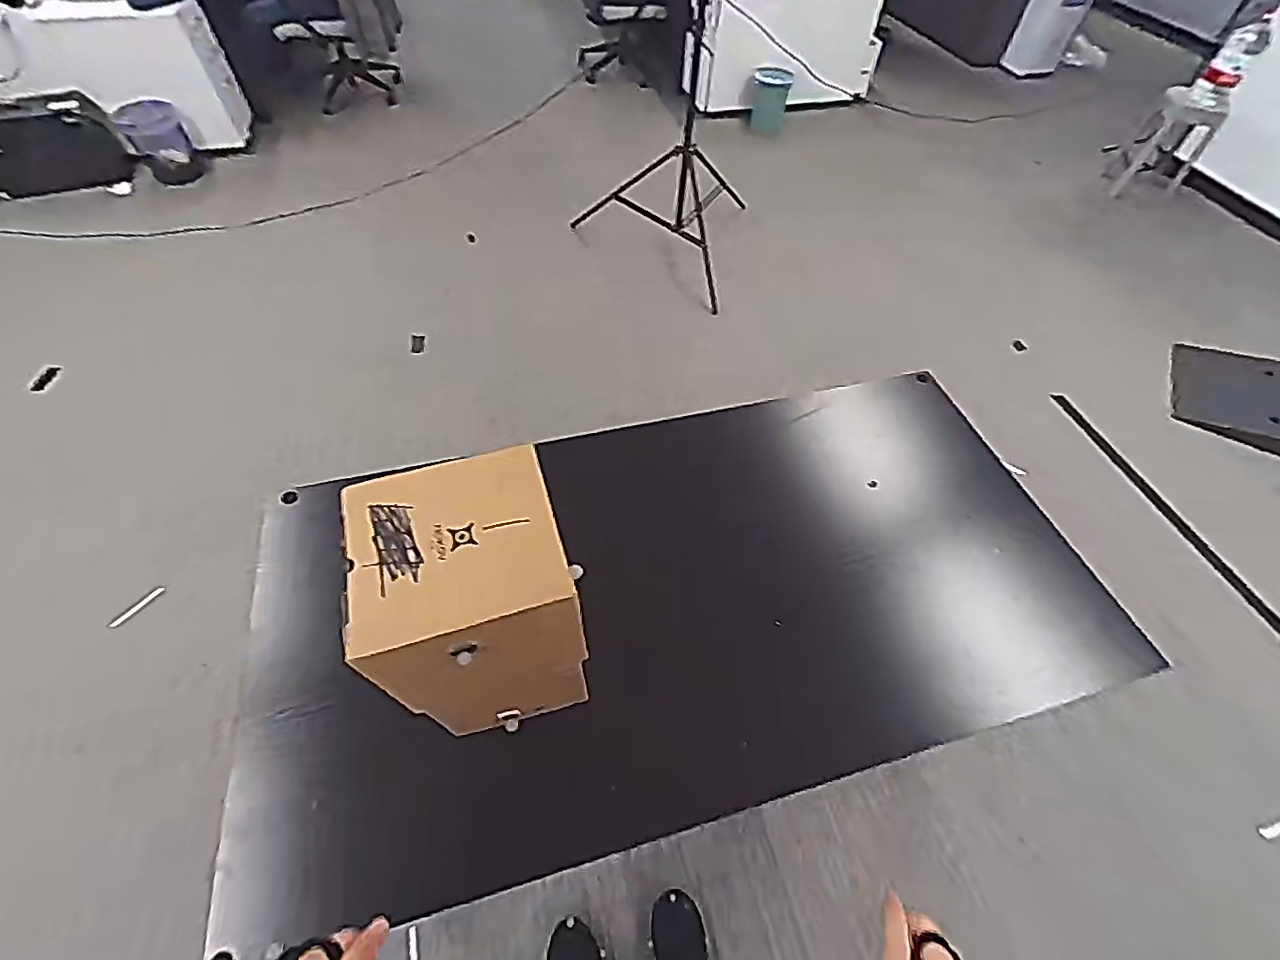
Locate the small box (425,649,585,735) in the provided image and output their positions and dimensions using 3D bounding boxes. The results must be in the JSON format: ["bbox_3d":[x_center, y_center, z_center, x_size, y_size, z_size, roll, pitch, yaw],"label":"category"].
[{"bbox_3d":[-0.169,0.188,0.665,0.168,0.176,0.179,-14,57,-11],"label":"small box"}]

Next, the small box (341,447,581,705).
[{"bbox_3d":[-0.165,0.098,0.527,0.179,0.176,0.168,-15,56,-12],"label":"small box"}]
